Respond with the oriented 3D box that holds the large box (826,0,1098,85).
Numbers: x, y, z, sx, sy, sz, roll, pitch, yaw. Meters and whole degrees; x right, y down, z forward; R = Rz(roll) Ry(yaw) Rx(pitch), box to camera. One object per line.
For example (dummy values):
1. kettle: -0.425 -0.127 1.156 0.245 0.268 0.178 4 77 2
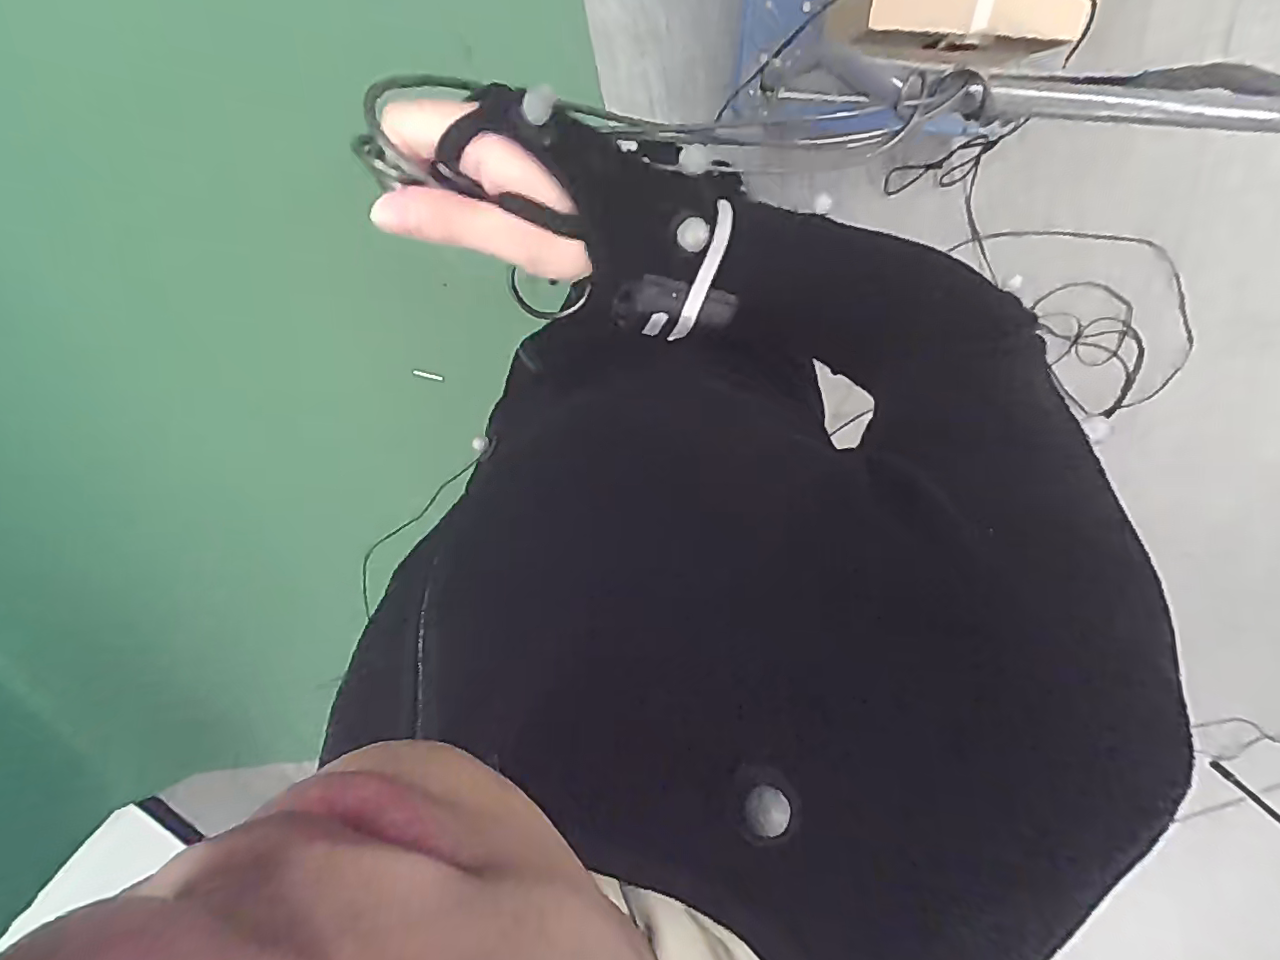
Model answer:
1. large box: 0.513 -0.880 0.833 0.320 0.320 0.408 4 119 -1
